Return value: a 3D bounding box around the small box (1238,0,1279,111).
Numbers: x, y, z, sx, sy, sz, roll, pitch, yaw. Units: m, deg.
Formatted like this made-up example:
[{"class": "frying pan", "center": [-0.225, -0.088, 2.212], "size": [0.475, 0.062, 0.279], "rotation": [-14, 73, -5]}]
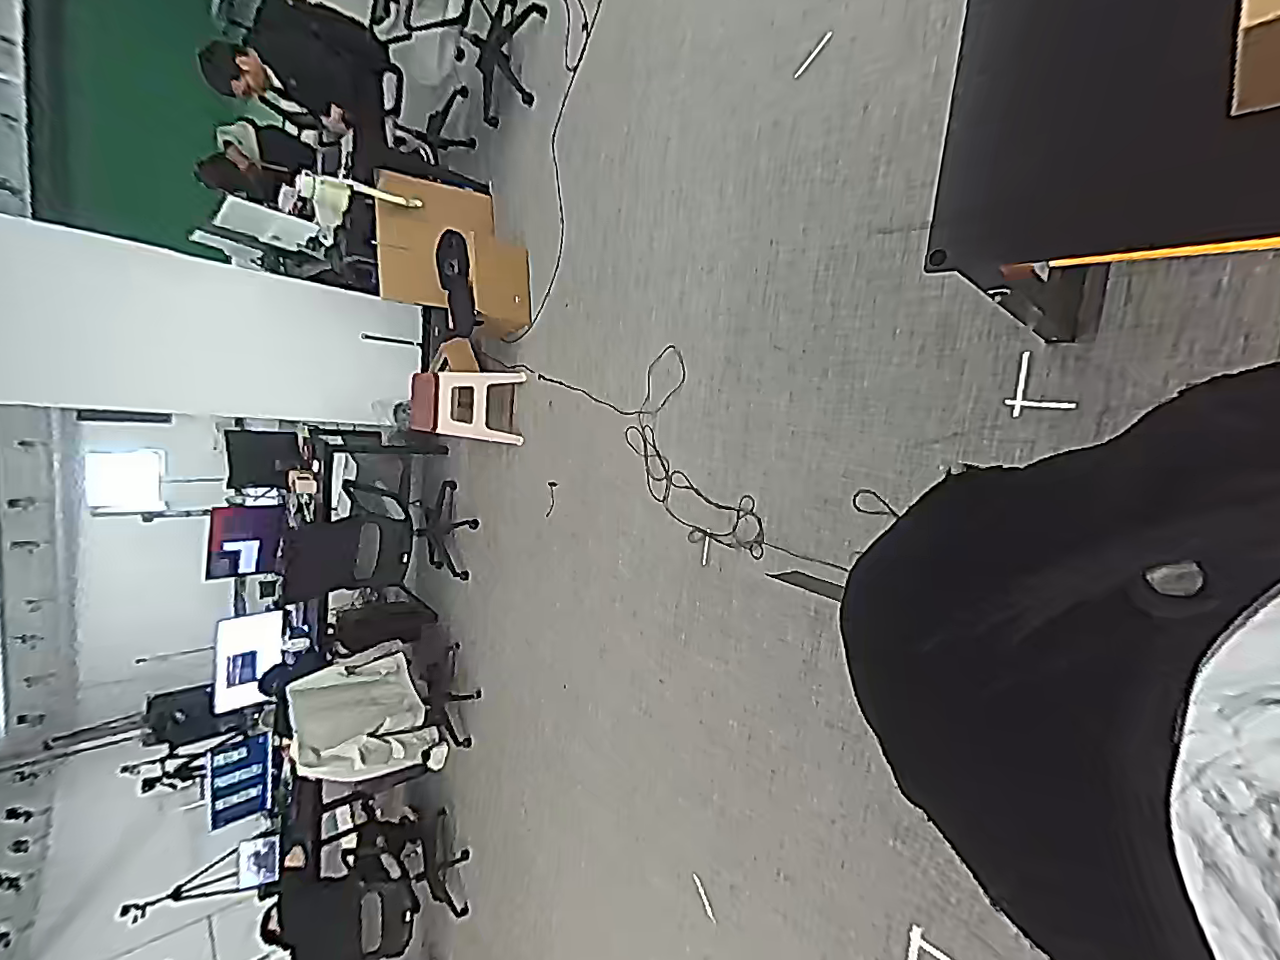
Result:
[{"class": "small box", "center": [0.598, -0.441, 0.421], "size": [0.168, 0.176, 0.179], "rotation": [6, 96, 48]}]
